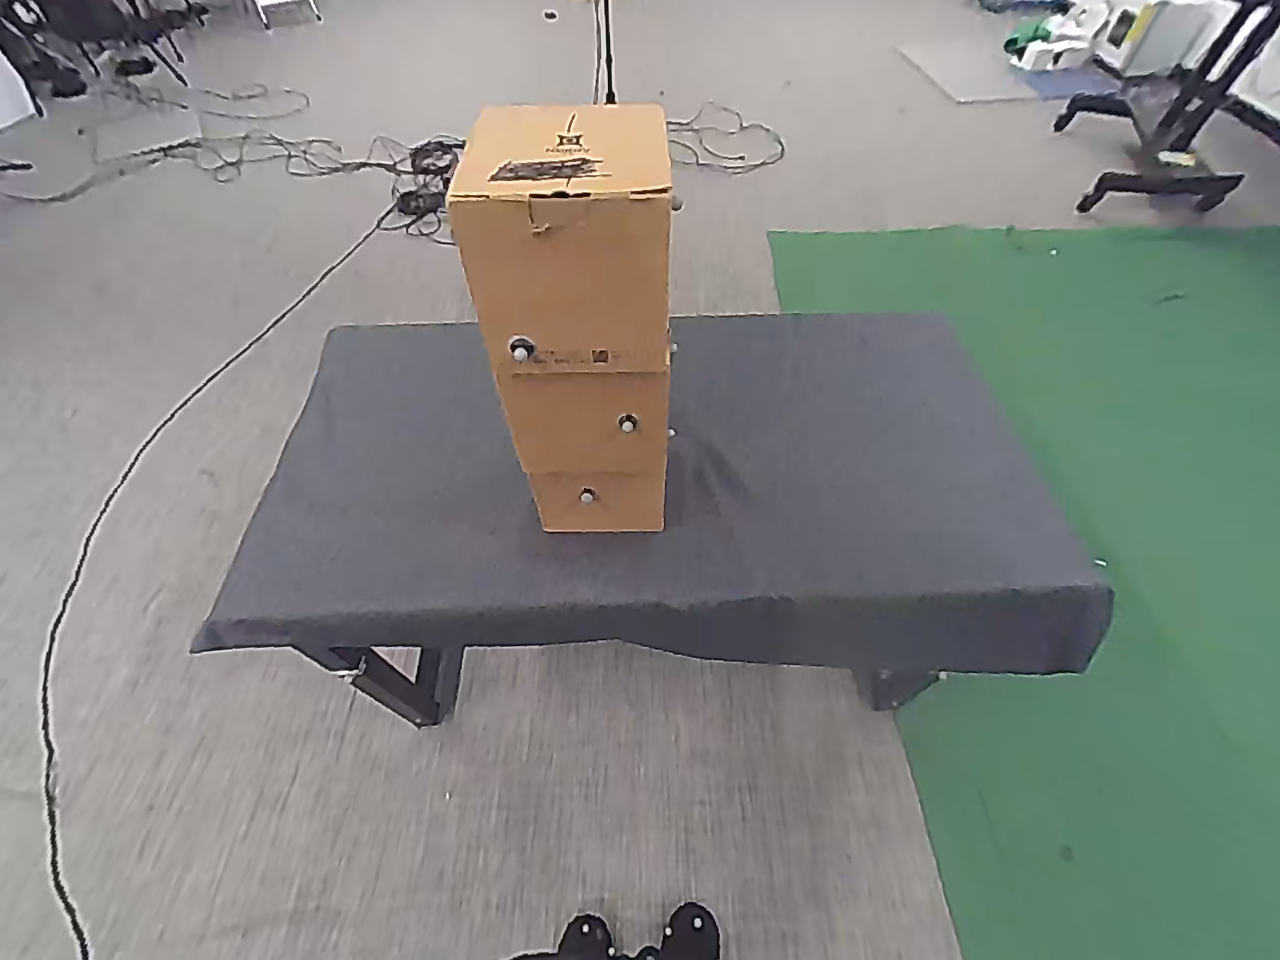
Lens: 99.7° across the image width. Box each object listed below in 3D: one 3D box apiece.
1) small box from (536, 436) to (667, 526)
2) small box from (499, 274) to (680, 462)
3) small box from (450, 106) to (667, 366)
[{"bbox_3d":[-0.054,-0.045,0.785,0.179,0.176,0.168,-2,53,-2],"label":"small box"},{"bbox_3d":[-0.054,-0.135,0.627,0.179,0.176,0.168,-3,54,-3],"label":"small box"},{"bbox_3d":[-0.059,-0.222,0.508,0.168,0.176,0.179,0,52,0],"label":"small box"}]
